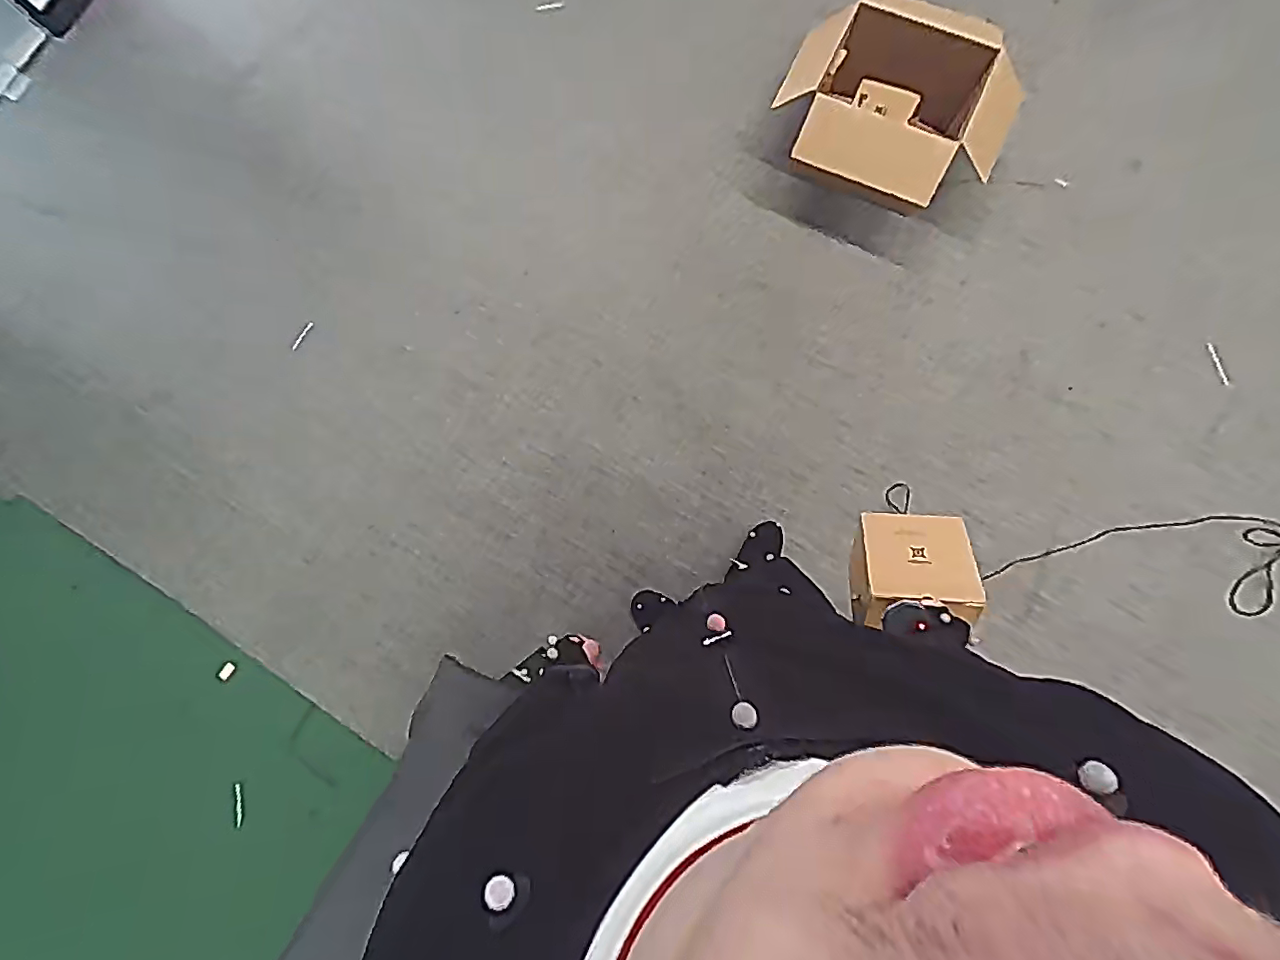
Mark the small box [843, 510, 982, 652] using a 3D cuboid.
[{"bbox_3d":[0.451,0.174,0.926,0.168,0.176,0.179,3,45,11],"label":"small box"}]
